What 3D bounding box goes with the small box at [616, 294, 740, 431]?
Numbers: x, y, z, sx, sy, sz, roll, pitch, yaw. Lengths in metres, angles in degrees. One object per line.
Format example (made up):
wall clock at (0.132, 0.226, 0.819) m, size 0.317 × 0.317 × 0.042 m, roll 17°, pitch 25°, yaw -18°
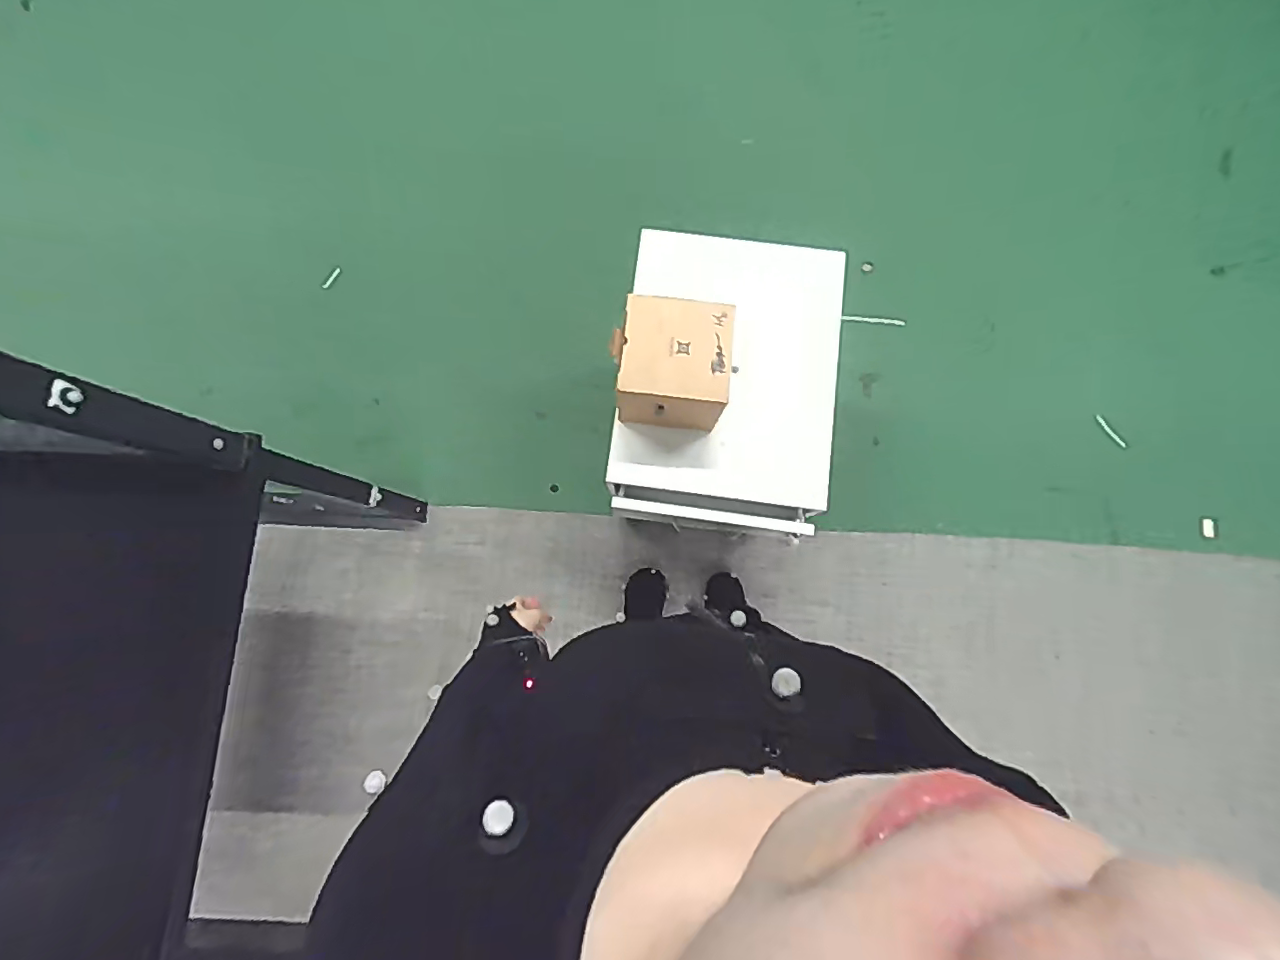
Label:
small box at (0.059, -0.186, 0.900) m, size 0.179 × 0.176 × 0.168 m, roll 6°, pitch 80°, yaw 1°
